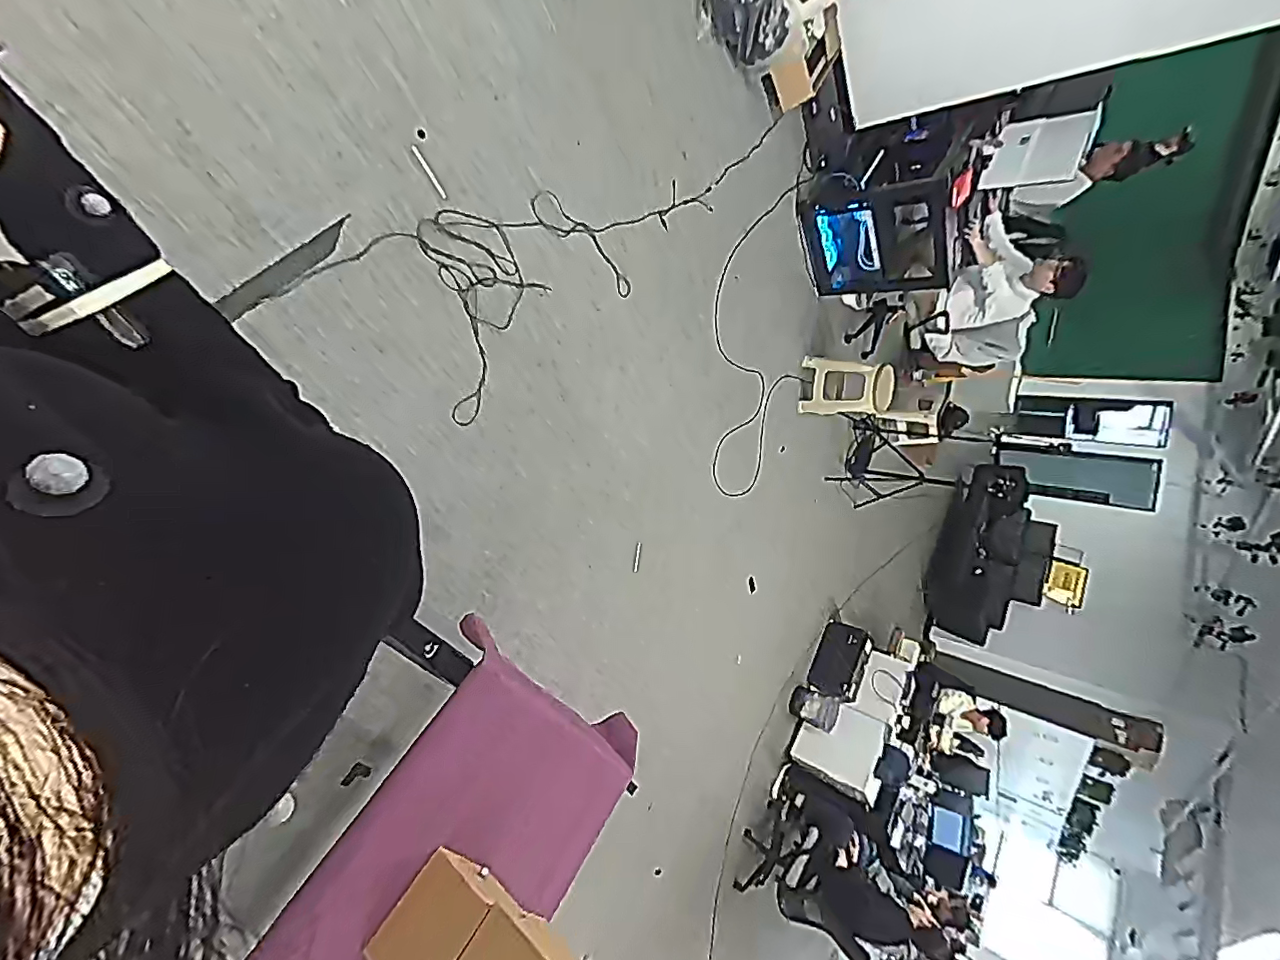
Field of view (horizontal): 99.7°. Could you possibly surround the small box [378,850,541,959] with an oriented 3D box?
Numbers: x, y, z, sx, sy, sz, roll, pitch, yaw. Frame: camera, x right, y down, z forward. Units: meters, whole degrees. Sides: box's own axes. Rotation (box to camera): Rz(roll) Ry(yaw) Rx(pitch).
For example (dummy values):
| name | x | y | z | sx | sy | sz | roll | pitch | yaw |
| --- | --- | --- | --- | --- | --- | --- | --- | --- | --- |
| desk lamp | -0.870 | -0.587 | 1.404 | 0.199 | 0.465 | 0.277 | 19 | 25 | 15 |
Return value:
| name | x | y | z | sx | sy | sz | roll | pitch | yaw |
| --- | --- | --- | --- | --- | --- | --- | --- | --- | --- |
| small box | -0.310 | 0.783 | 0.917 | 0.179 | 0.176 | 0.168 | -51 | 133 | -28 |
